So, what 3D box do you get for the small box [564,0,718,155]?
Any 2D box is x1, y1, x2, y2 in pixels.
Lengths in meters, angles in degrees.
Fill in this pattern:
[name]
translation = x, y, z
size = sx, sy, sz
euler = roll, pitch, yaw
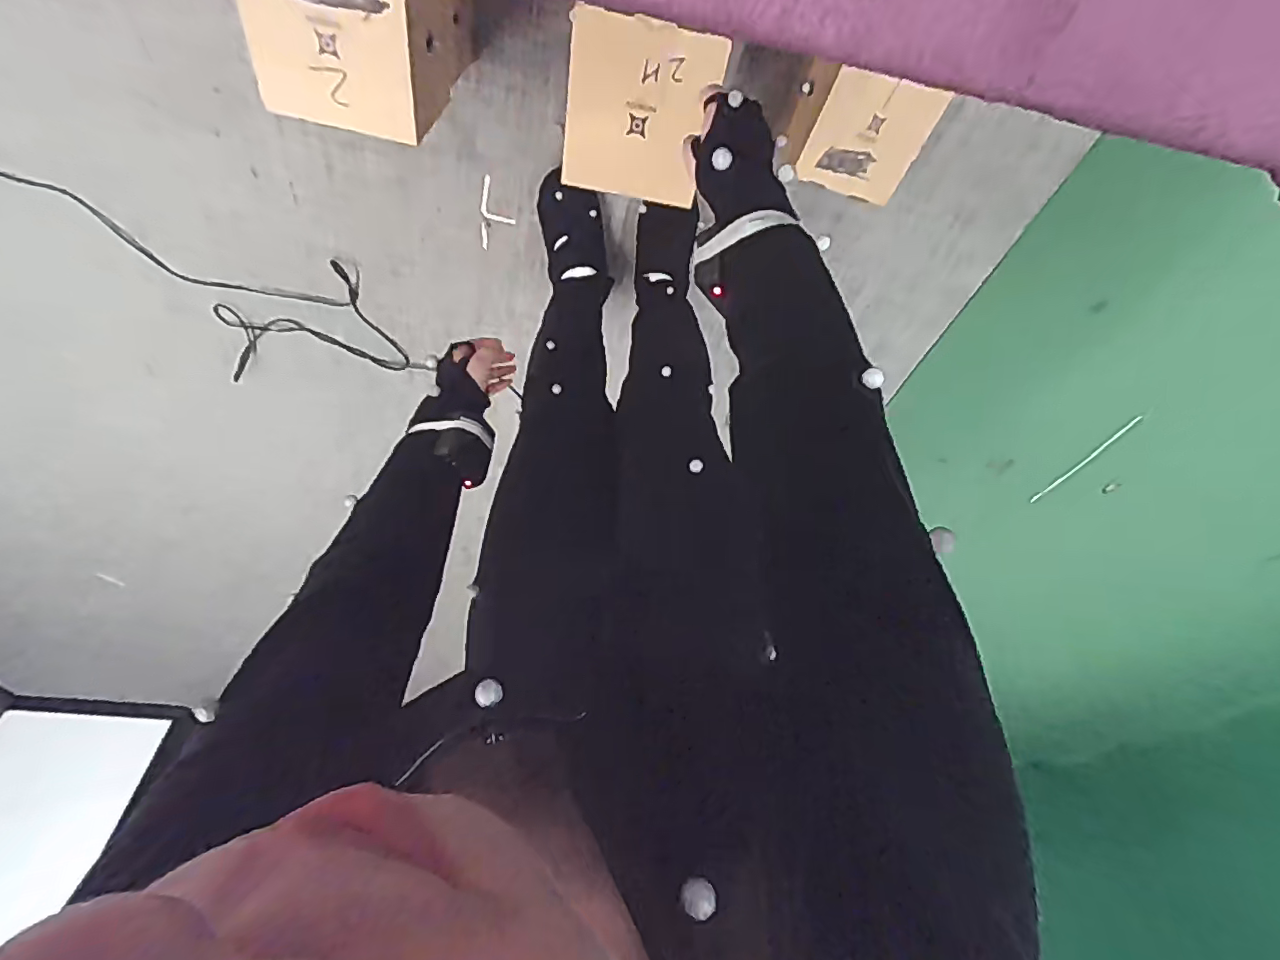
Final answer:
[small box]
translation = -0.003, -0.599, 0.768
size = 0.179, 0.176, 0.168
euler = 9, 139, -9
